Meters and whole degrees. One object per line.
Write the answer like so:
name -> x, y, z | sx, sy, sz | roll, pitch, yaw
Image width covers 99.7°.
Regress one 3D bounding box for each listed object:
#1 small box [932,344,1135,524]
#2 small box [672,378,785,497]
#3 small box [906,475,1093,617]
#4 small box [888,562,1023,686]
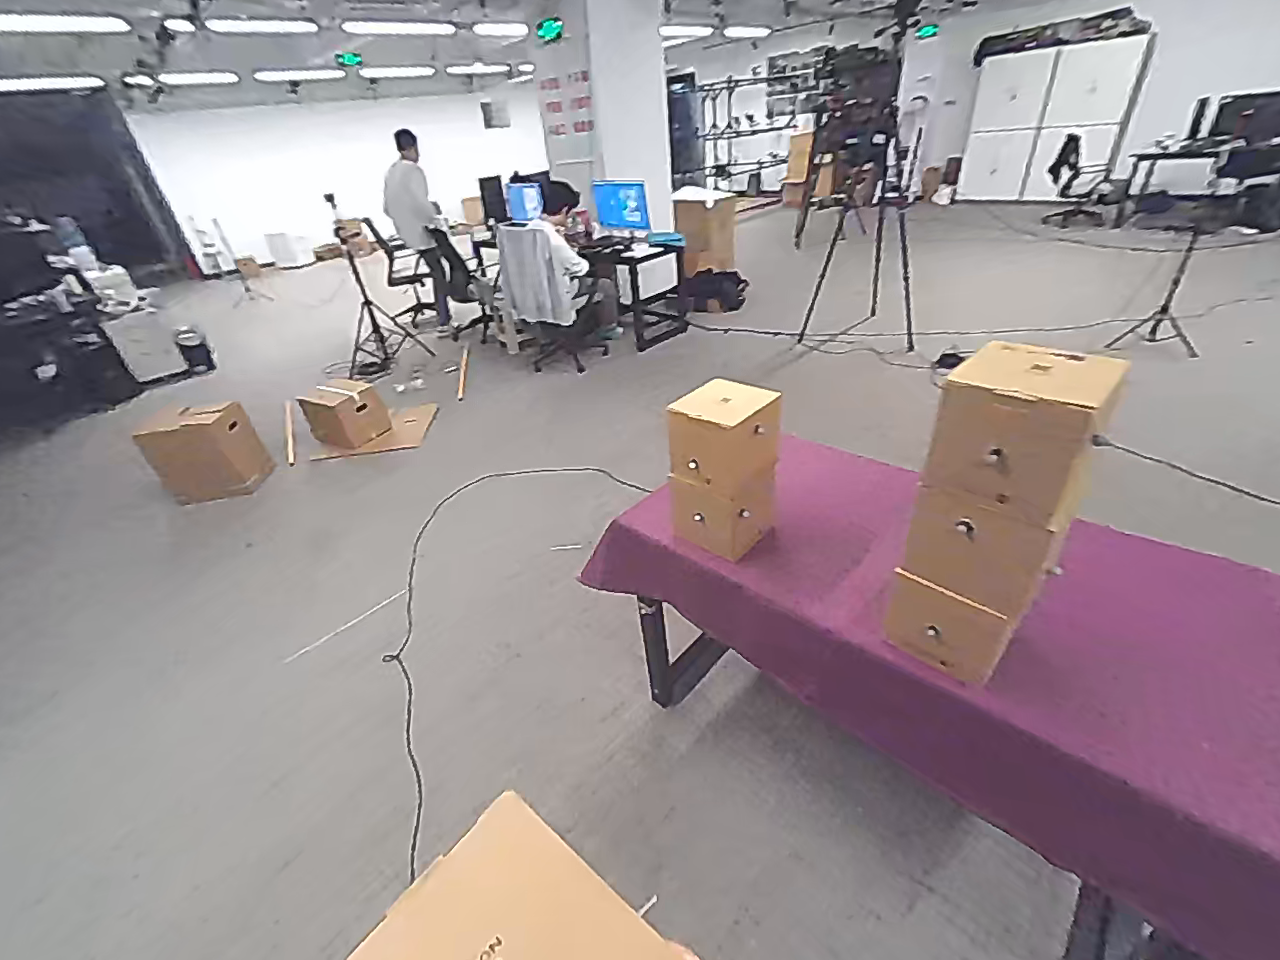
small box -> 0.524, -0.067, 0.741 | 0.179, 0.176, 0.168 | -31, 41, -32
small box -> 0.185, -0.092, 1.137 | 0.168, 0.176, 0.179 | 24, 44, 38
small box -> 0.535, 0.074, 0.825 | 0.168, 0.176, 0.179 | -31, 41, -32
small box -> 0.542, 0.210, 0.919 | 0.179, 0.176, 0.168 | -31, 41, -33
